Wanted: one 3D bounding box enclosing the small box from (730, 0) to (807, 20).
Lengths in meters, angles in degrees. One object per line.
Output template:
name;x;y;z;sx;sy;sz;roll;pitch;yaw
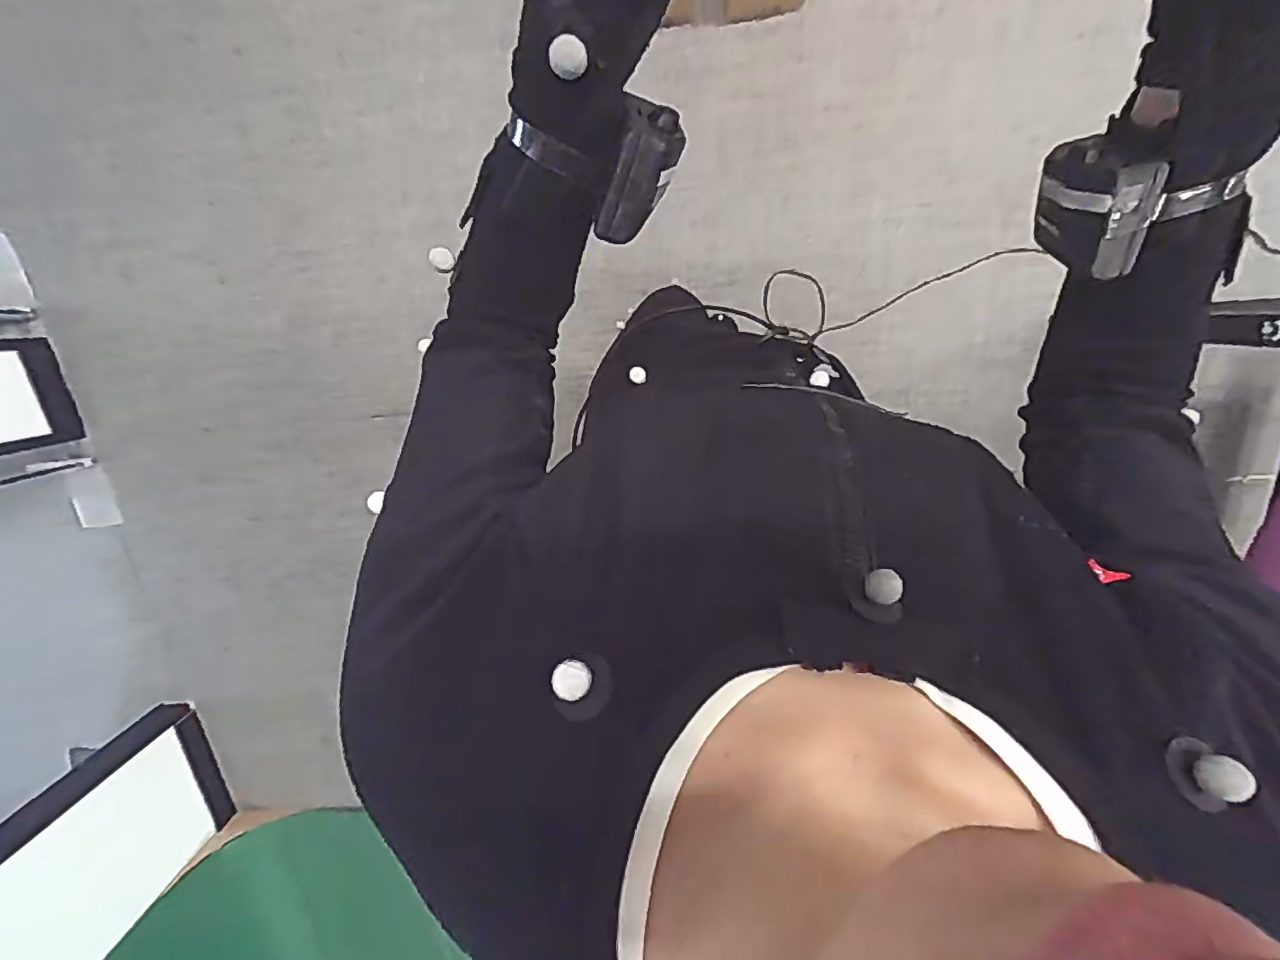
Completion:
small box;0.263;-1.068;1.069;0.168;0.176;0.179;-5;106;6
